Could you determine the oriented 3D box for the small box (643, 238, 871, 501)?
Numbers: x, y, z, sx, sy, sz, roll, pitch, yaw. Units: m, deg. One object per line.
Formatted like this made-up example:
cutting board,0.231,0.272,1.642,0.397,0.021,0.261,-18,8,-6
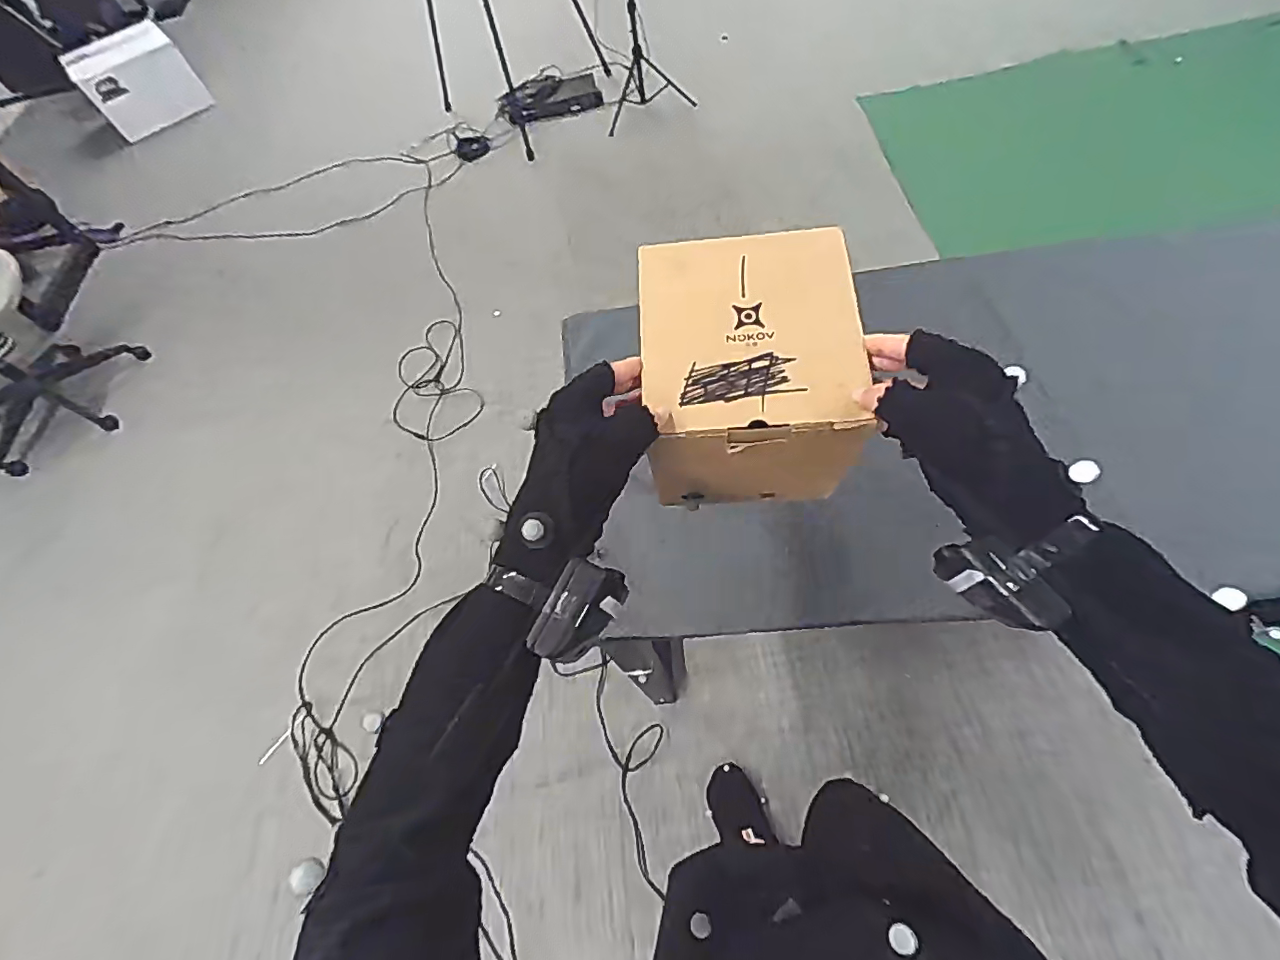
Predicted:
small box,0.095,-0.085,0.496,0.168,0.176,0.179,-3,68,6
